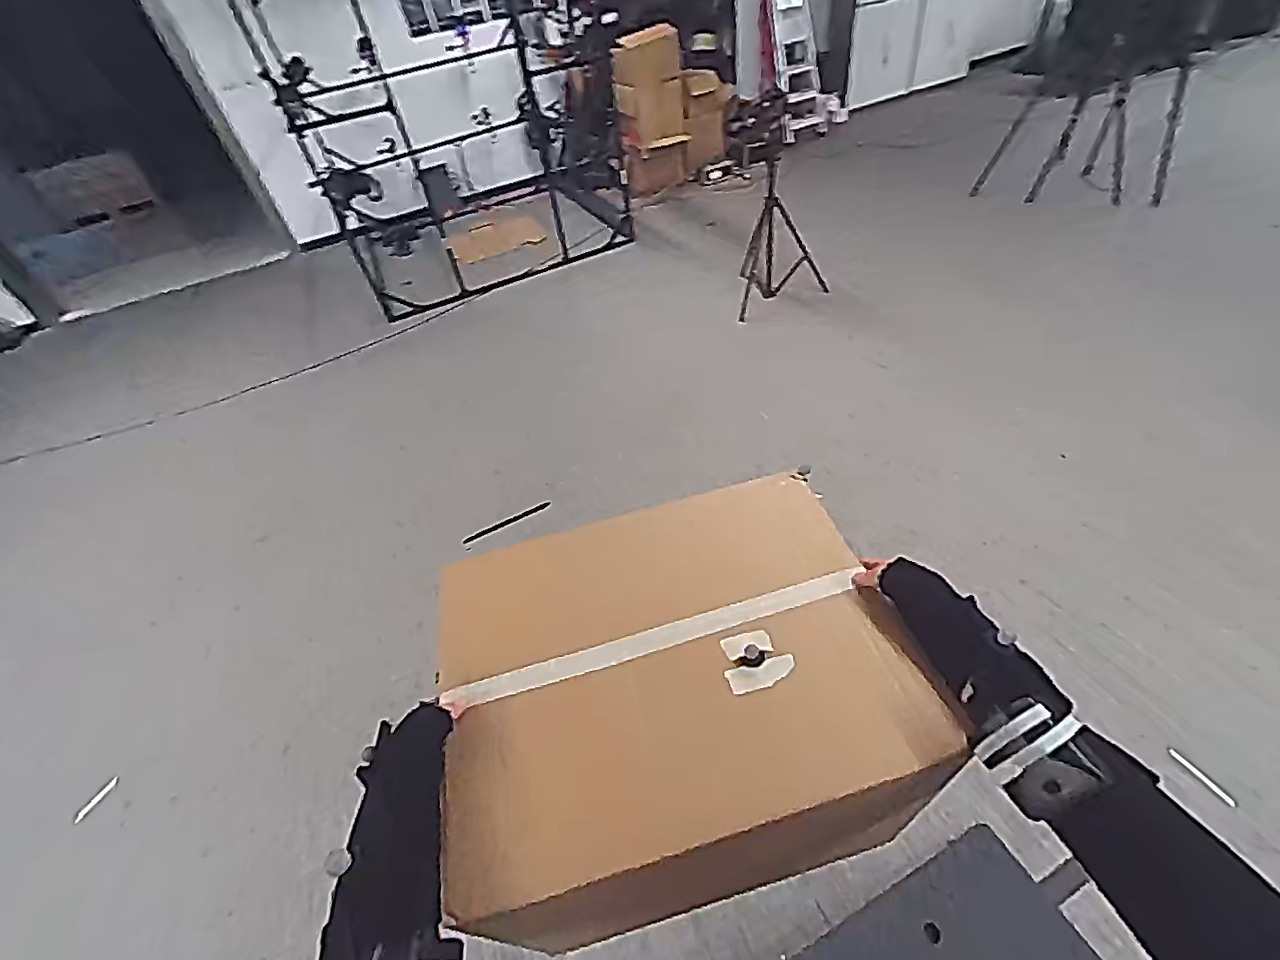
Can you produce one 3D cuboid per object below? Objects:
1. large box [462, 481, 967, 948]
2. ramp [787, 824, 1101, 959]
[{"bbox_3d":[0.048,0.256,0.610,0.408,0.320,0.320,-15,45,-5],"label":"large box"},{"bbox_3d":[0.506,1.125,1.010,0.991,0.206,0.509,-26,44,-15],"label":"ramp"}]
